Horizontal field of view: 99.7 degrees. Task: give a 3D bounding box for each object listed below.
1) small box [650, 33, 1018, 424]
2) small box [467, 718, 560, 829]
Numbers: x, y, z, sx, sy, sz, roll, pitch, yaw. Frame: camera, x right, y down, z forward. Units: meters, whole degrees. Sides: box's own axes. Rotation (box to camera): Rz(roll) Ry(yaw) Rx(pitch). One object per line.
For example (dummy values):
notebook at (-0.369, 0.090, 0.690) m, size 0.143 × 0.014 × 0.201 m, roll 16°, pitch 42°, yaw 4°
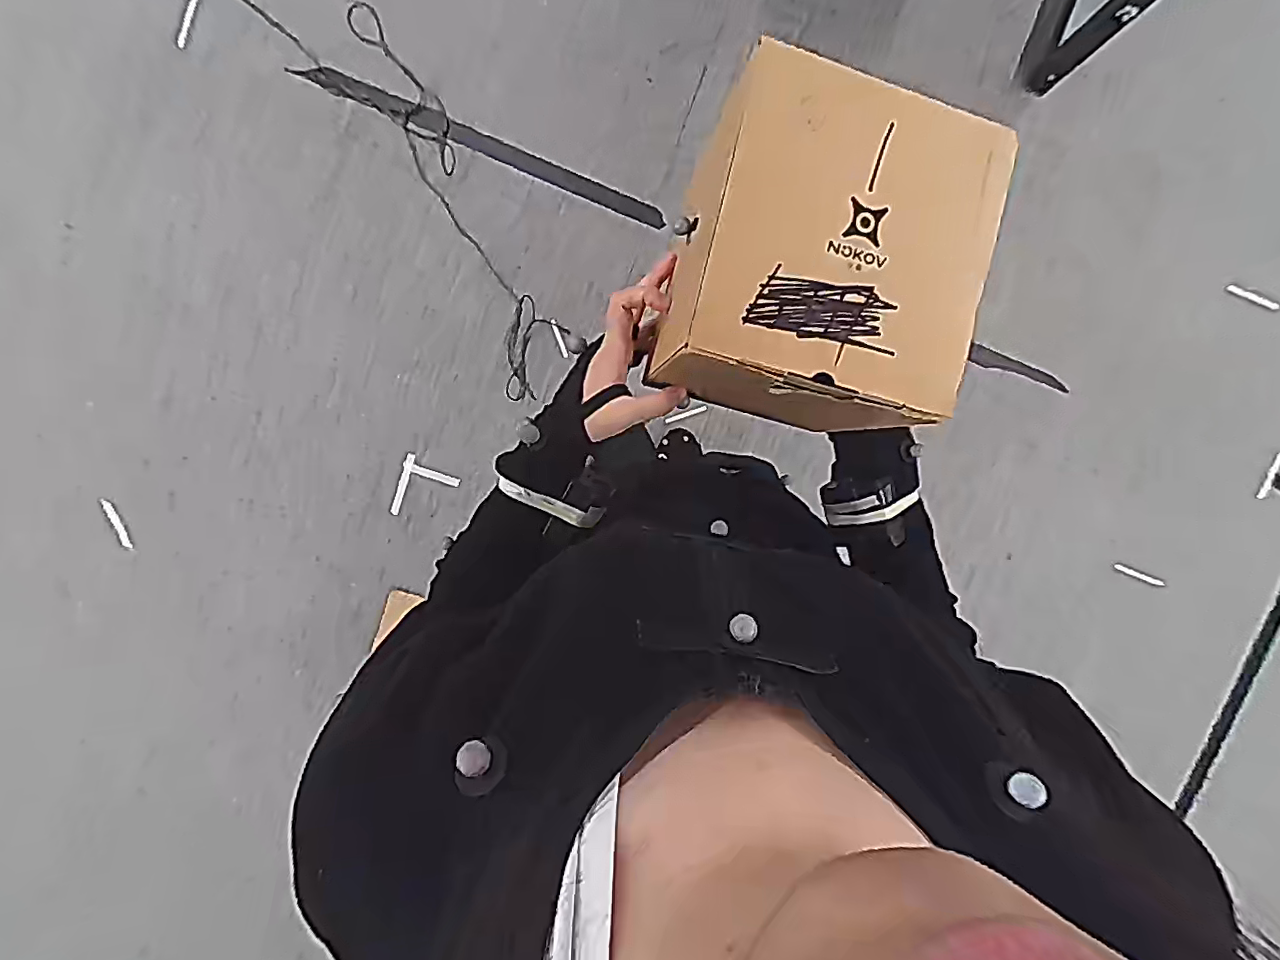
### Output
small box at (0.111, -0.143, 0.383) m, size 0.168 × 0.176 × 0.179 m, roll 14°, pitch 90°, yaw -9°
small box at (-0.332, 0.783, 1.462) m, size 0.179 × 0.176 × 0.168 m, roll 29°, pitch 94°, yaw -5°
